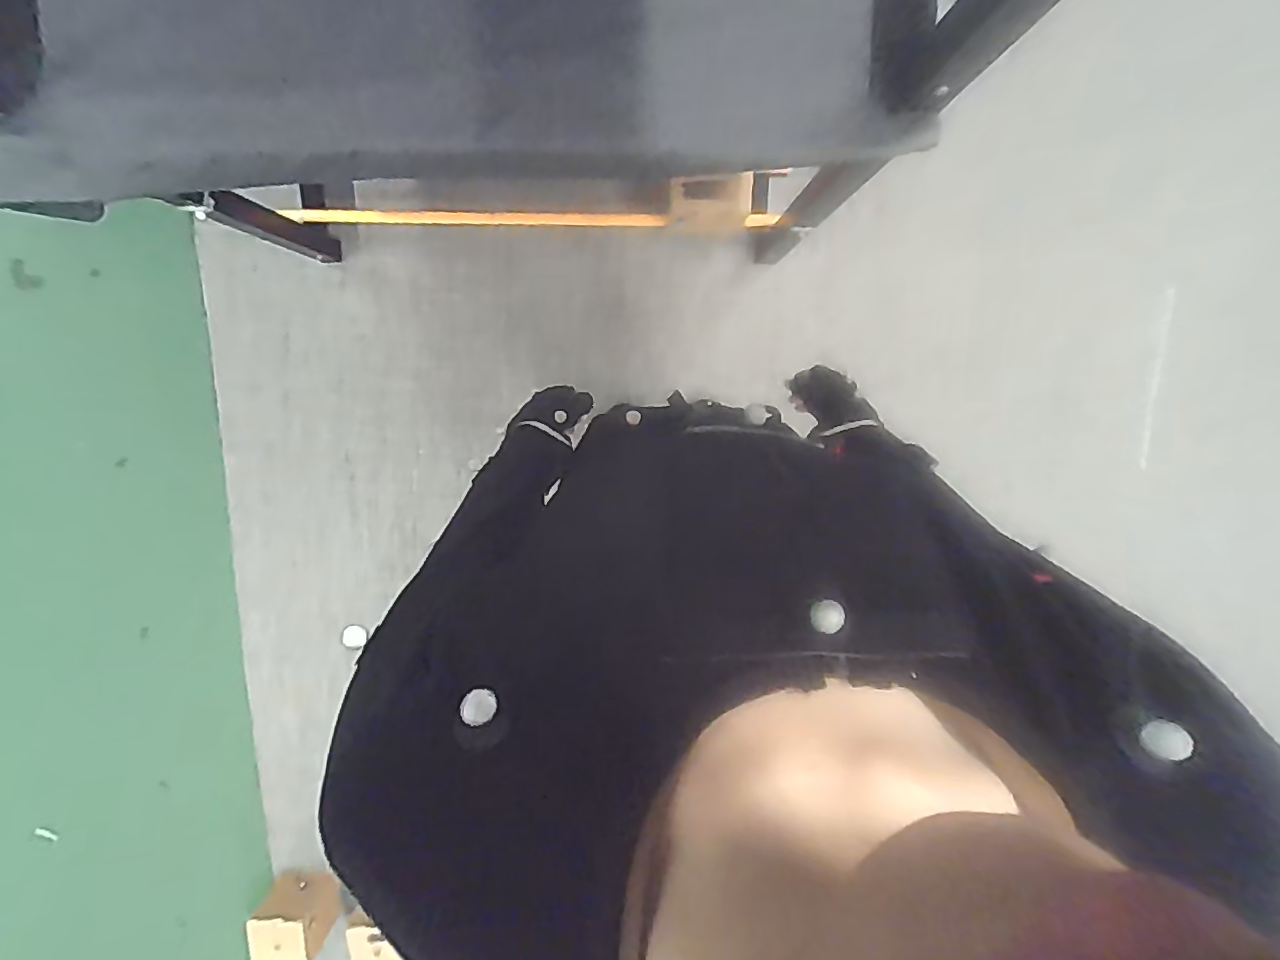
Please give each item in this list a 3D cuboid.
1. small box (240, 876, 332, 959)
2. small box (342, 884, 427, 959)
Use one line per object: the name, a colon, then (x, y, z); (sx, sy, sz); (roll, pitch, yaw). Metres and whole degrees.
small box: (-1.050, 1.337, 1.618); (0.168, 0.176, 0.179); (1, 99, 0)
small box: (-0.757, 1.349, 1.616); (0.168, 0.176, 0.179); (-3, 100, 1)
